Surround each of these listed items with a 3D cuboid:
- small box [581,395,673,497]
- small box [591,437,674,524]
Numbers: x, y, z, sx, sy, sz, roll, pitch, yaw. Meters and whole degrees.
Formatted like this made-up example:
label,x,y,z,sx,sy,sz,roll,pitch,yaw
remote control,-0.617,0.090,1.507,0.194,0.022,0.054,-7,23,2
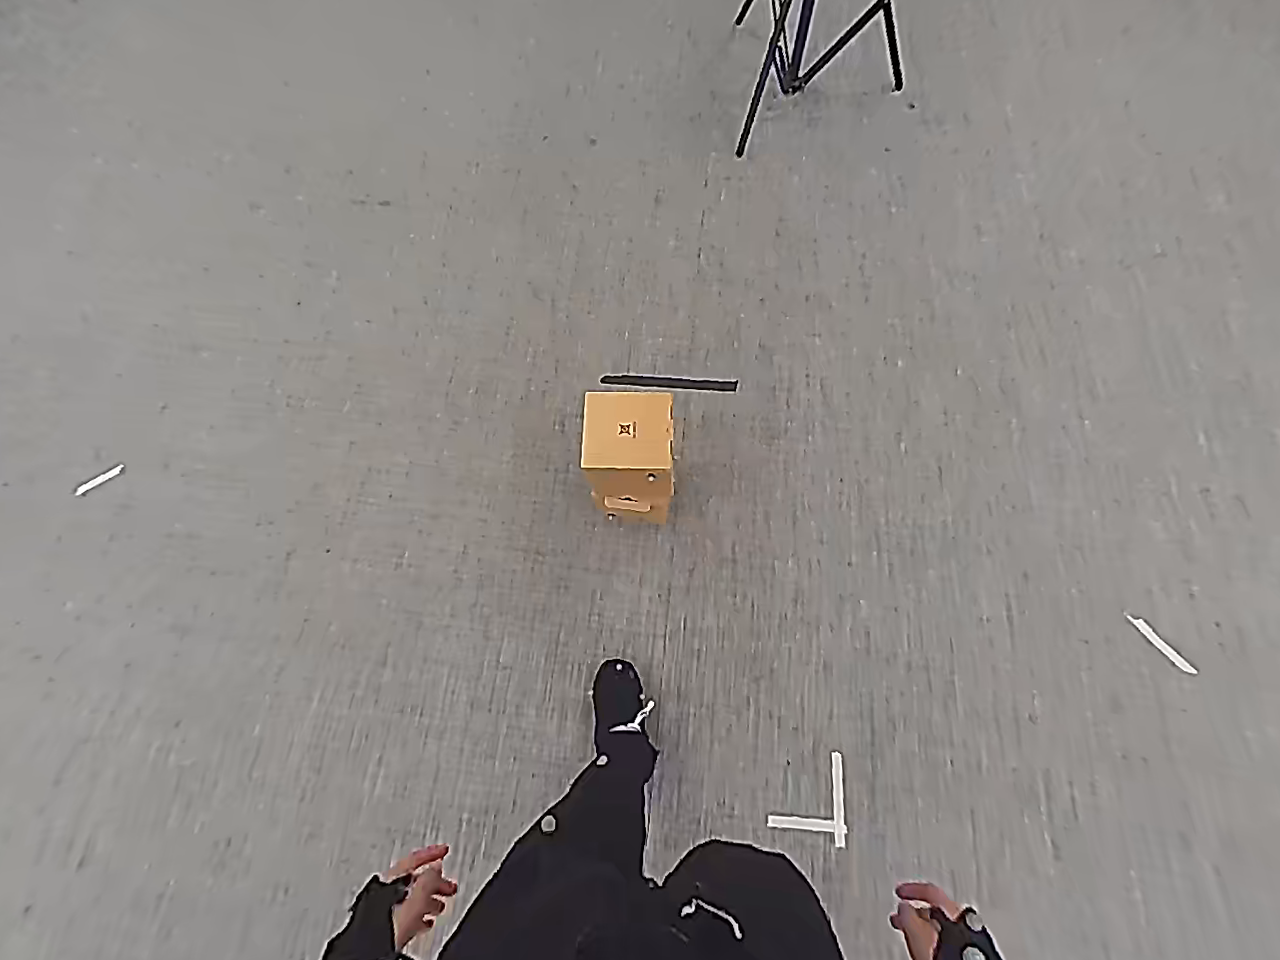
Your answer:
label,x,y,z,sx,sy,sz,roll,pitch,yaw
small box,-0.020,-0.065,1.125,0.179,0.176,0.168,0,71,3
small box,-0.009,-0.003,1.276,0.168,0.176,0.179,7,71,5
